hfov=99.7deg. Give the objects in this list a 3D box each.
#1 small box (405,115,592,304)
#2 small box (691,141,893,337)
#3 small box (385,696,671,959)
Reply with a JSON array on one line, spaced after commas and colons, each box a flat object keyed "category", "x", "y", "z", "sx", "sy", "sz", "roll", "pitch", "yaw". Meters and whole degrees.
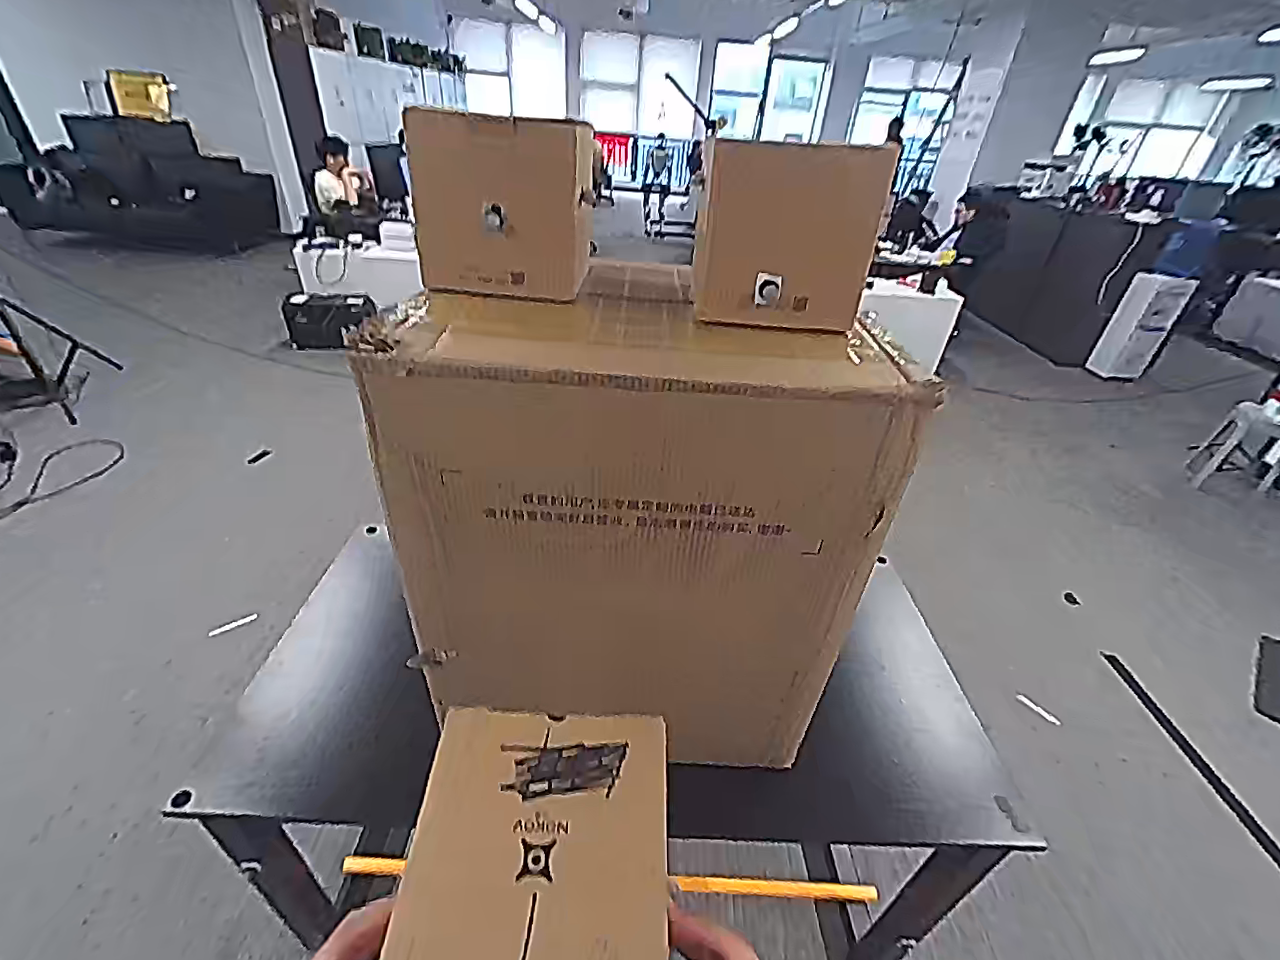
[{"category": "small box", "x": -0.146, "y": -0.312, "z": 0.623, "sx": 0.168, "sy": 0.176, "sz": 0.179, "roll": 5, "pitch": 33, "yaw": -2}, {"category": "small box", "x": 0.147, "y": -0.270, "z": 0.599, "sx": 0.168, "sy": 0.176, "sz": 0.179, "roll": 3, "pitch": 33, "yaw": 1}, {"category": "small box", "x": -0.068, "y": 0.291, "z": 0.413, "sx": 0.168, "sy": 0.176, "sz": 0.179, "roll": 3, "pitch": 42, "yaw": -2}]
